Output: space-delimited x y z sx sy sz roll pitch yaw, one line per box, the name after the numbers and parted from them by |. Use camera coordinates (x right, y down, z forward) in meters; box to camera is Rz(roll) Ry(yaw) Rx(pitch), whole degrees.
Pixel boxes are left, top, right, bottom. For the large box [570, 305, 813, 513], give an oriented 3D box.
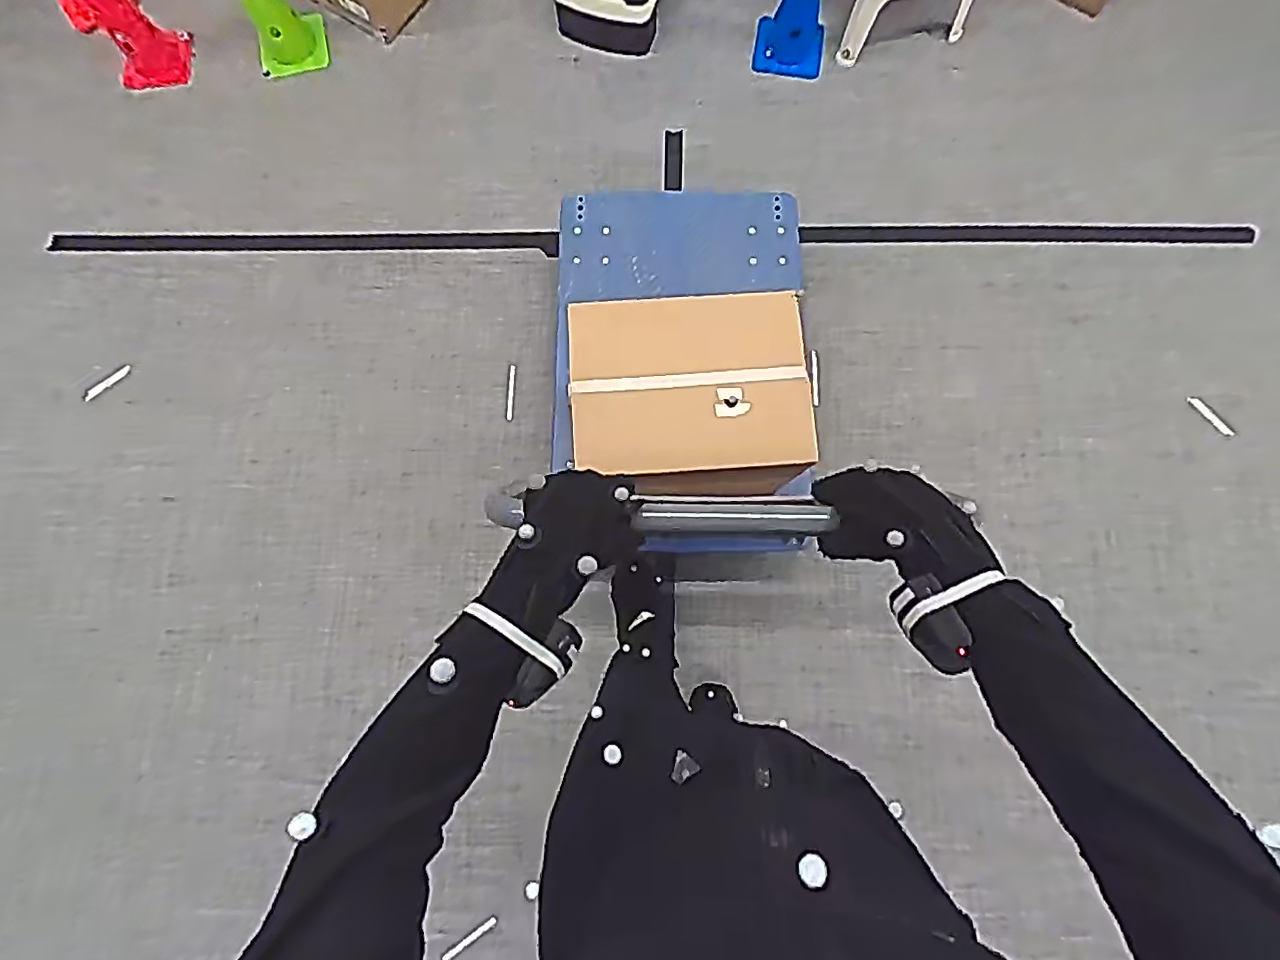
0.082 -0.121 1.085 0.408 0.320 0.320 -4 79 -2 | large box
